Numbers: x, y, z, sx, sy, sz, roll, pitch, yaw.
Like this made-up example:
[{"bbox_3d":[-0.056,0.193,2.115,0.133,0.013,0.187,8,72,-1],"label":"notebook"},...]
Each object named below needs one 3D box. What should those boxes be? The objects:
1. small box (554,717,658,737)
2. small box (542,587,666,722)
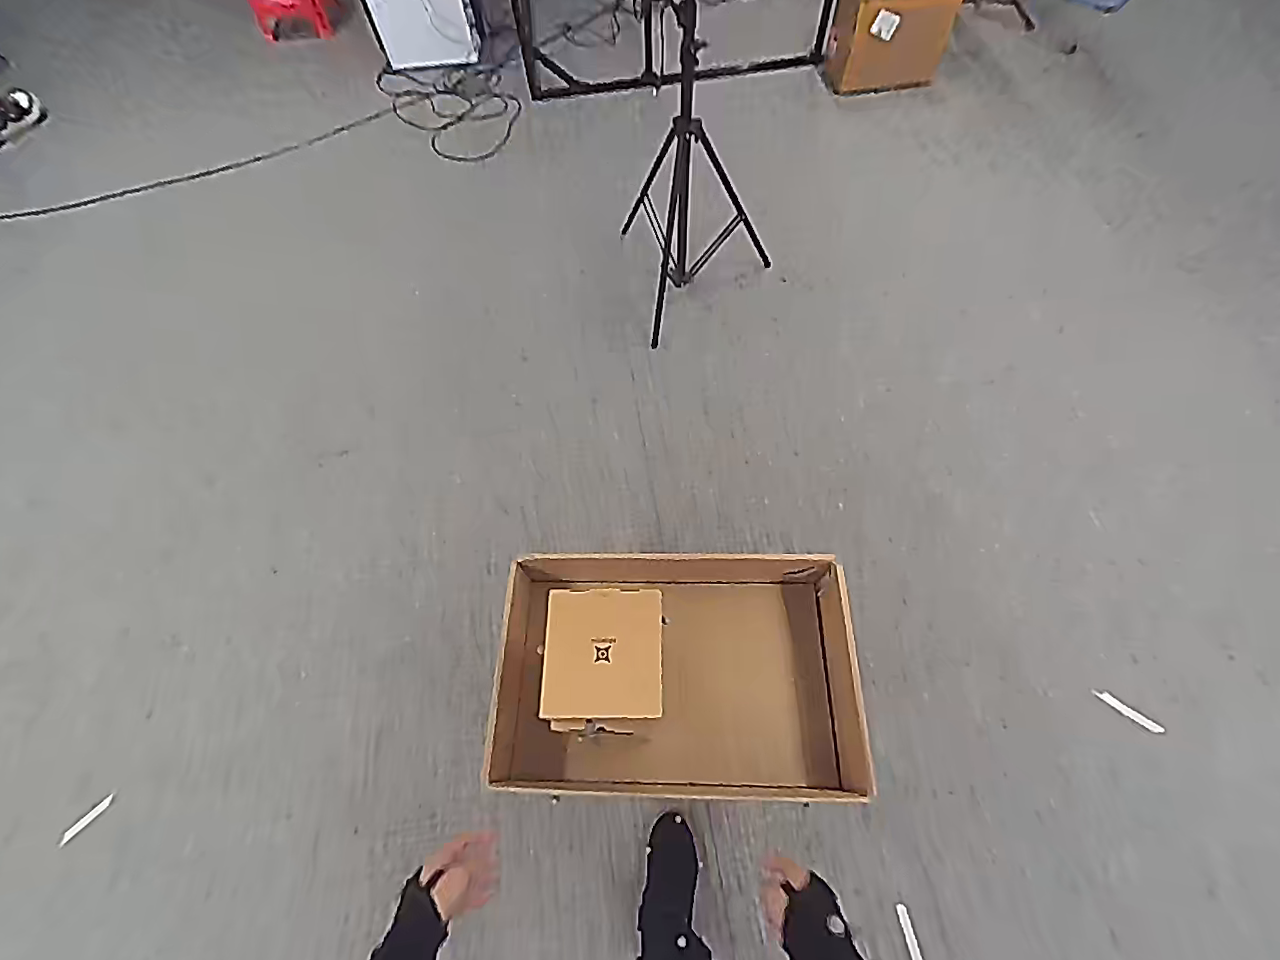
[{"bbox_3d":[-0.047,0.355,0.965,0.168,0.176,0.179,3,62,4],"label":"small box"},{"bbox_3d":[-0.045,0.271,0.825,0.168,0.176,0.179,-1,62,2],"label":"small box"}]
